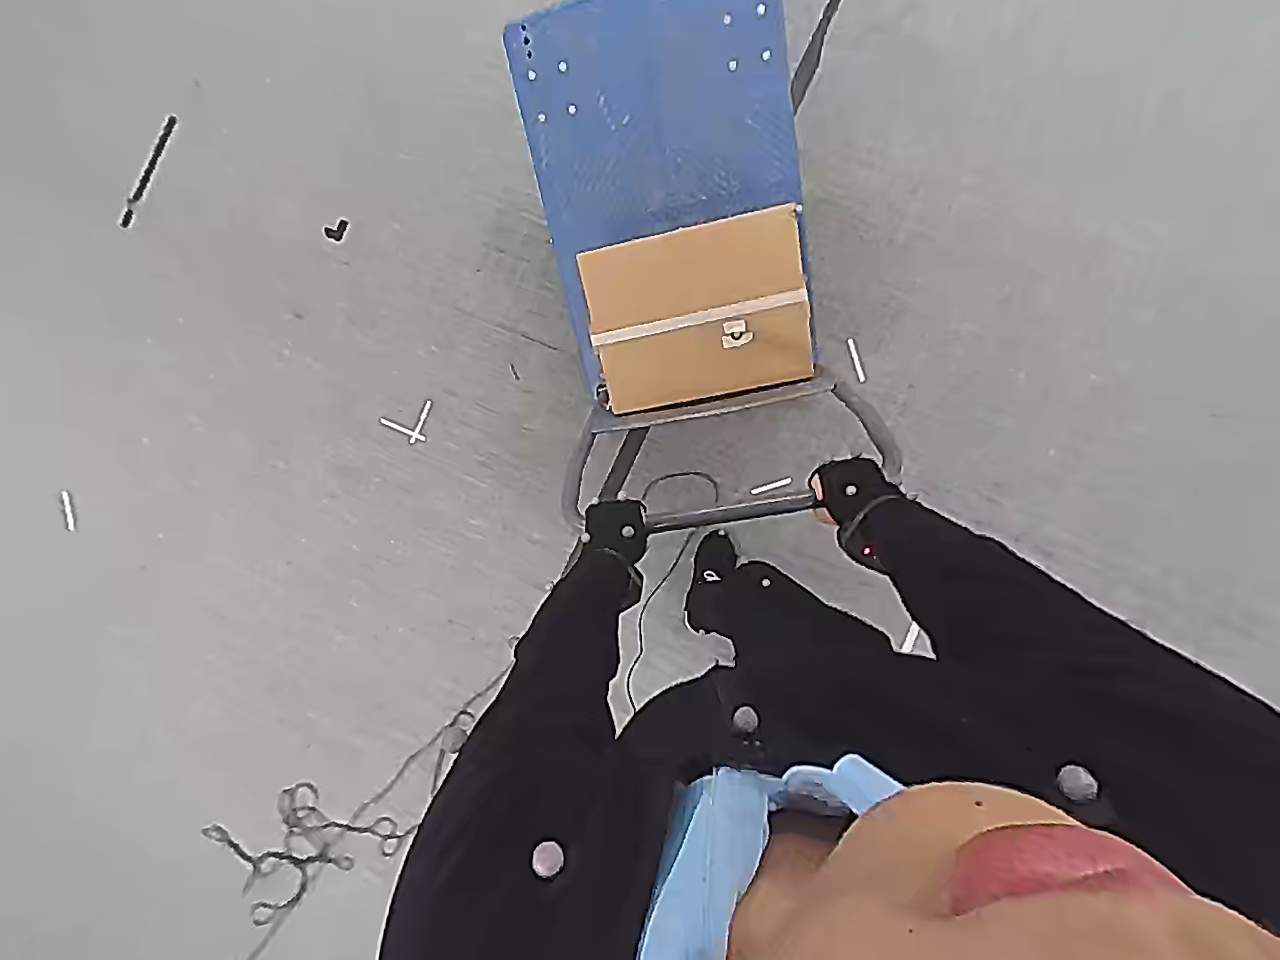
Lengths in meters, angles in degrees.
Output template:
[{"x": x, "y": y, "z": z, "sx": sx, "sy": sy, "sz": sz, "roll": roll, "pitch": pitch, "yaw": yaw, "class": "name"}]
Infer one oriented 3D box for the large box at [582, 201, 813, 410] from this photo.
[{"x": 0.122, "y": -0.370, "z": 1.179, "sx": 0.408, "sy": 0.320, "sz": 0.320, "roll": -11, "pitch": 110, "yaw": 7, "class": "large box"}]
